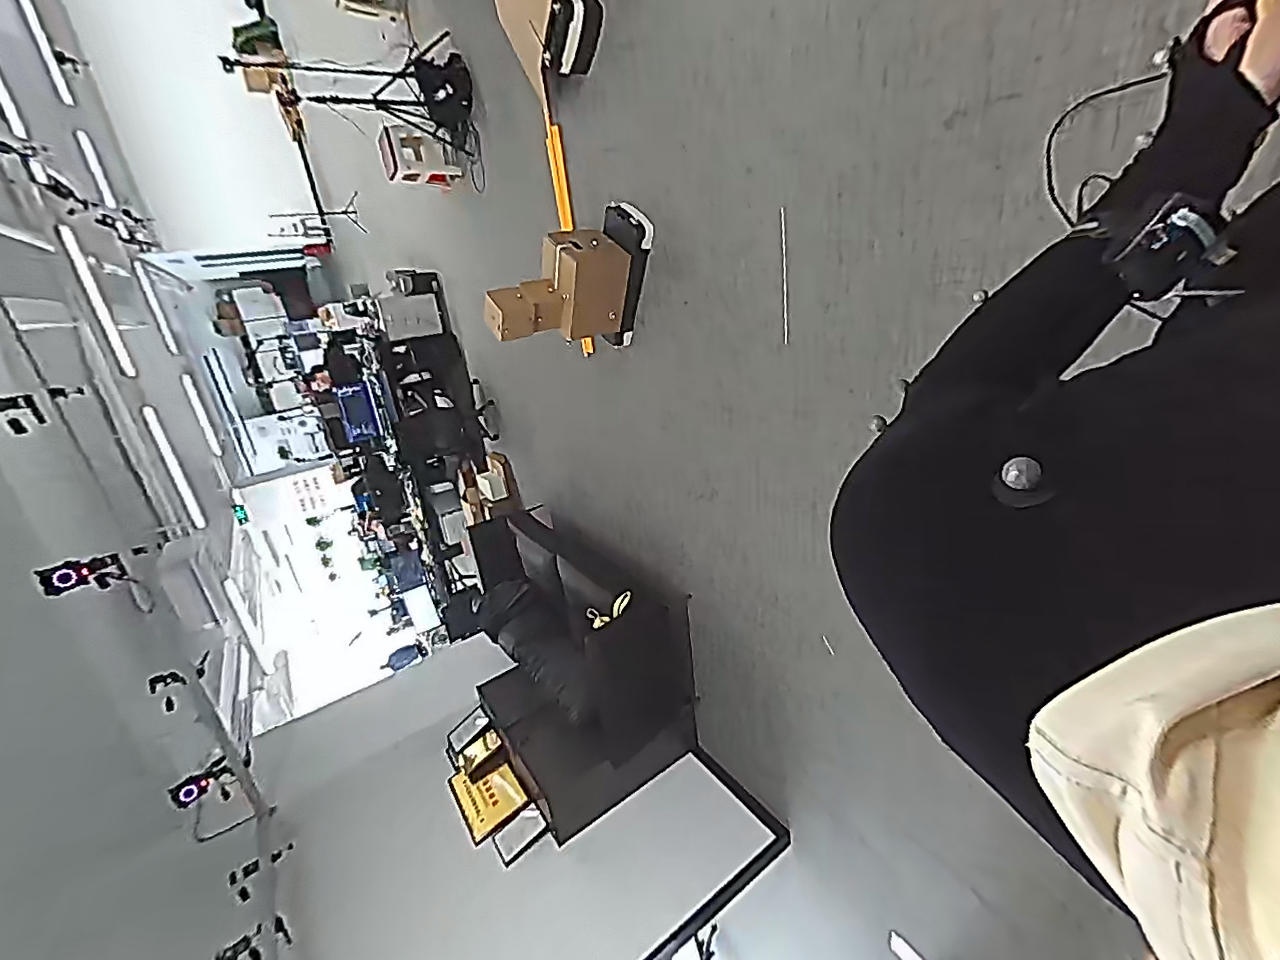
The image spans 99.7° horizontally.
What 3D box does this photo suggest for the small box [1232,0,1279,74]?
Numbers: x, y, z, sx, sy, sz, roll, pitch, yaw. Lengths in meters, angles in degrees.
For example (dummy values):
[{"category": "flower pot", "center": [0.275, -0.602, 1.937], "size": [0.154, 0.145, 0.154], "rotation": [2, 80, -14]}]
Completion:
[{"category": "small box", "center": [0.536, -0.401, 0.347], "size": [0.168, 0.176, 0.179], "rotation": [18, 128, 57]}]
